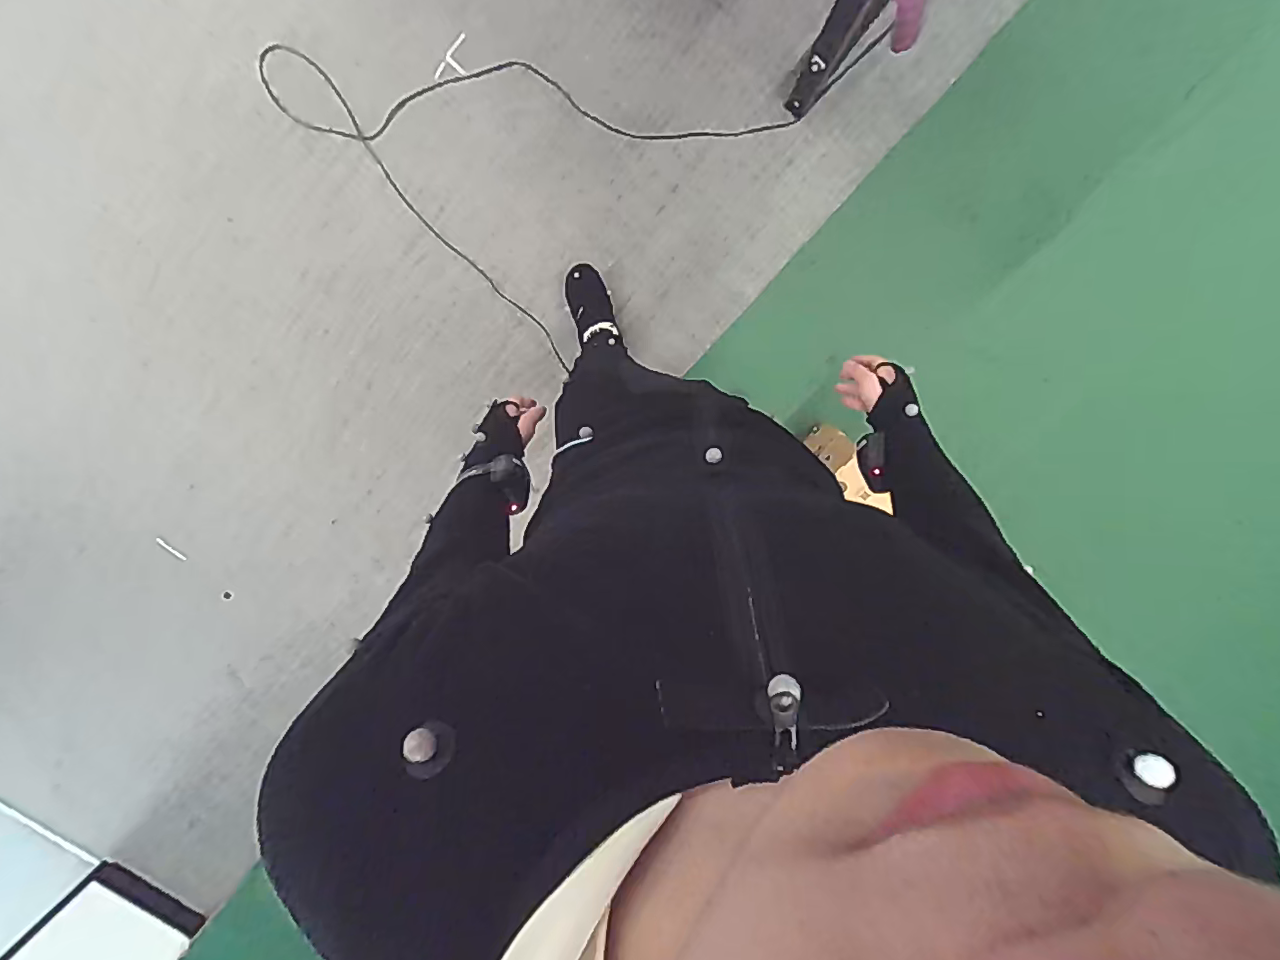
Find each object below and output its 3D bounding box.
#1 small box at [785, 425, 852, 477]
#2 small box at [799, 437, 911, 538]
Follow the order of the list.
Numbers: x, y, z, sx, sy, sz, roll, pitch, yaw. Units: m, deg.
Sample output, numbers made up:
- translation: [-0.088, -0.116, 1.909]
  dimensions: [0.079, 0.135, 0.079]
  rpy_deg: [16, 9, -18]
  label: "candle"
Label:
- translation: [0.537, -0.040, 1.520]
  dimensions: [0.179, 0.176, 0.168]
  rpy_deg: [39, 104, -9]
  label: "small box"
- translation: [0.533, 0.010, 1.366]
  dimensions: [0.179, 0.176, 0.168]
  rpy_deg: [38, 104, -7]
  label: "small box"
